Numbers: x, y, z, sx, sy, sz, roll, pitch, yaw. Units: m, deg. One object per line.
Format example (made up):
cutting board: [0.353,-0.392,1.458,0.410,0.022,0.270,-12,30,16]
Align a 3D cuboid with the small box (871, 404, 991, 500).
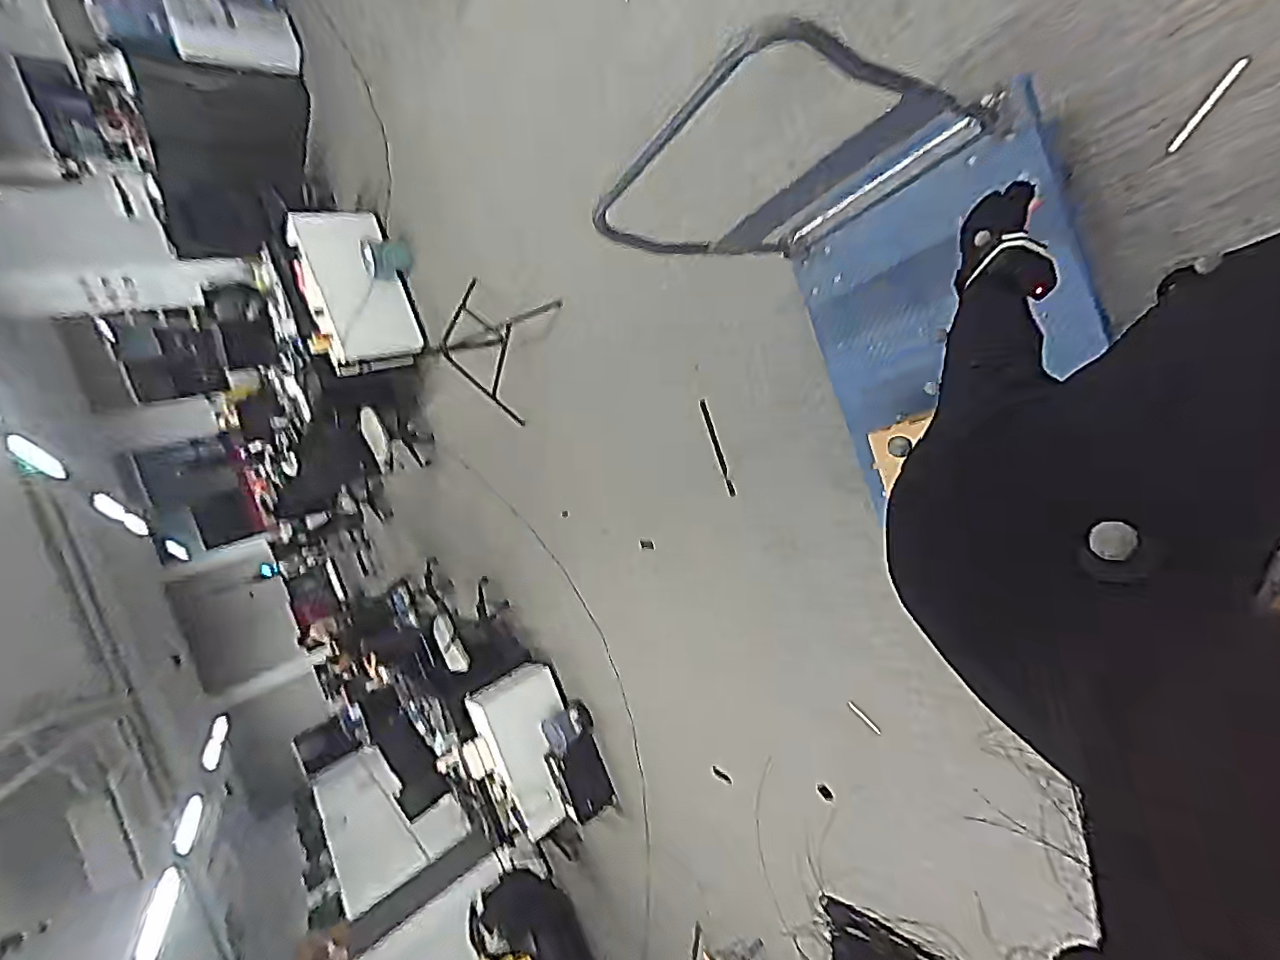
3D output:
small box: [0.678,-0.069,1.258,0.168,0.176,0.179,-18,93,55]
